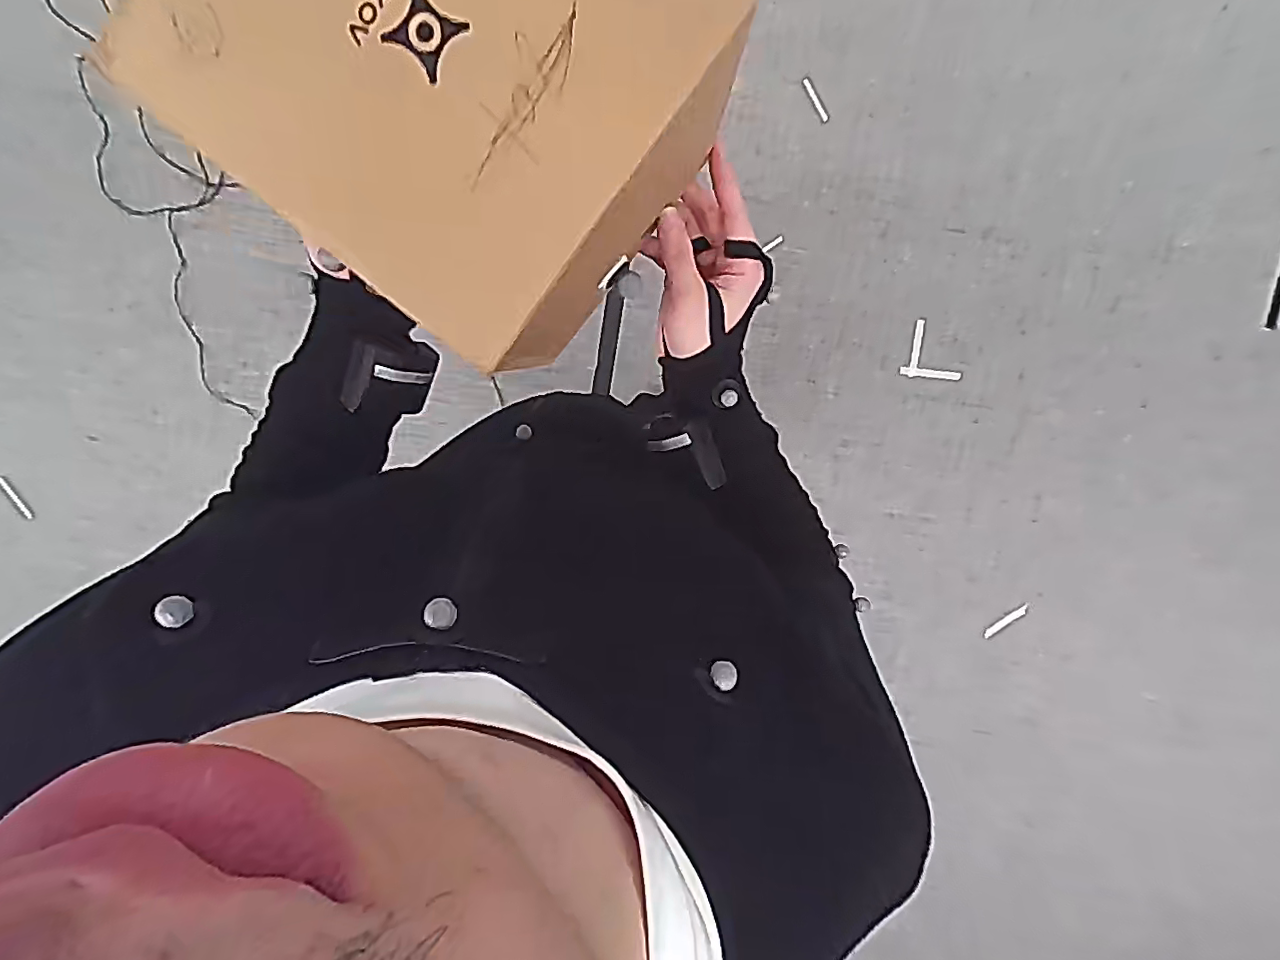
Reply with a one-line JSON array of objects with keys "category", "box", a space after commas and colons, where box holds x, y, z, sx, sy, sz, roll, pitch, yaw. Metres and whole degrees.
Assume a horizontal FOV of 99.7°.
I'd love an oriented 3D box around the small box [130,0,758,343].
[{"category": "small box", "box": [-0.073, -0.184, 0.275, 0.179, 0.176, 0.168, 37, 101, -8]}]
